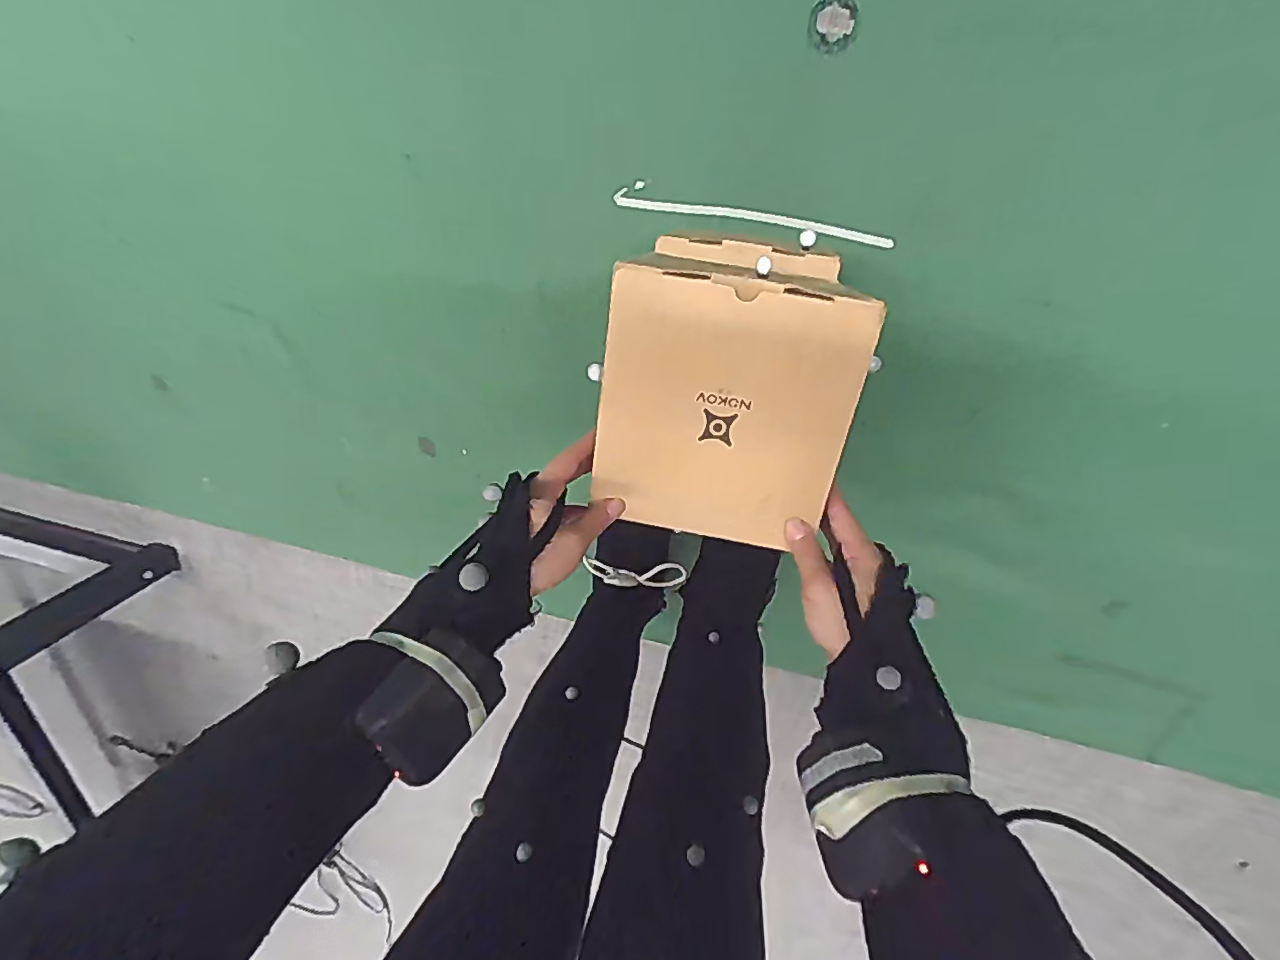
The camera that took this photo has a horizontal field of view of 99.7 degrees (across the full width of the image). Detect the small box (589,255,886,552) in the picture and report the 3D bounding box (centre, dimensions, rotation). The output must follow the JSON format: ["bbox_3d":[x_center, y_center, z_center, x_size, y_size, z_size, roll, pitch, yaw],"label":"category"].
[{"bbox_3d":[0.066,-0.072,0.429,0.168,0.176,0.179,11,114,4],"label":"small box"}]
